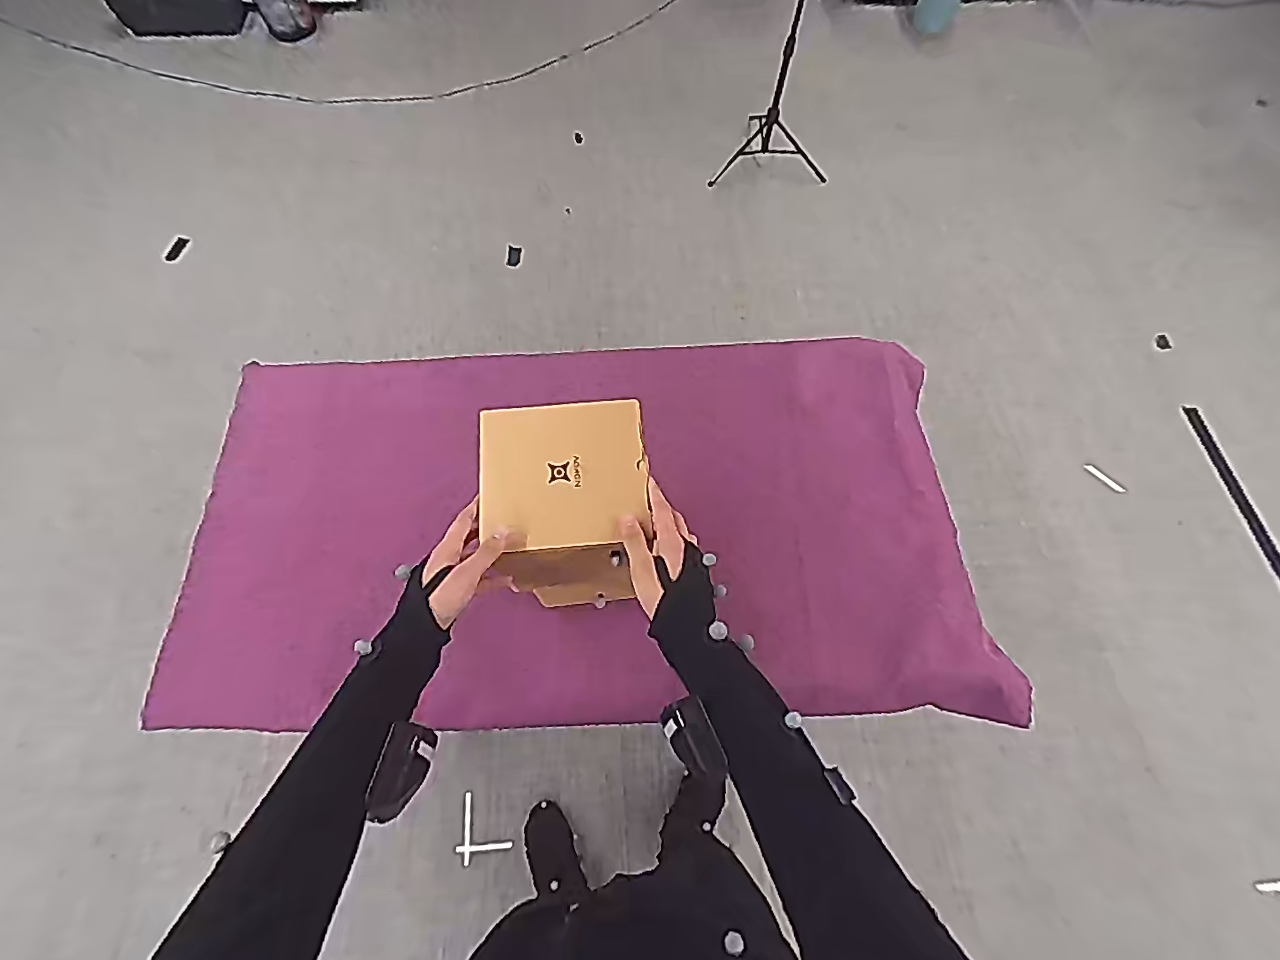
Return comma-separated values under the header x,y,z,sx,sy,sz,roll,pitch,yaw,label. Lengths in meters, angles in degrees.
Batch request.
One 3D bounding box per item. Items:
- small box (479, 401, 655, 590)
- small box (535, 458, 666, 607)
x,y,z,sx,sy,sz,roll,pitch,yaw,label
-0.079,0.026,0.634,0.179,0.176,0.168,-5,67,-4,small box
-0.064,0.082,0.789,0.179,0.176,0.168,-5,65,-4,small box
